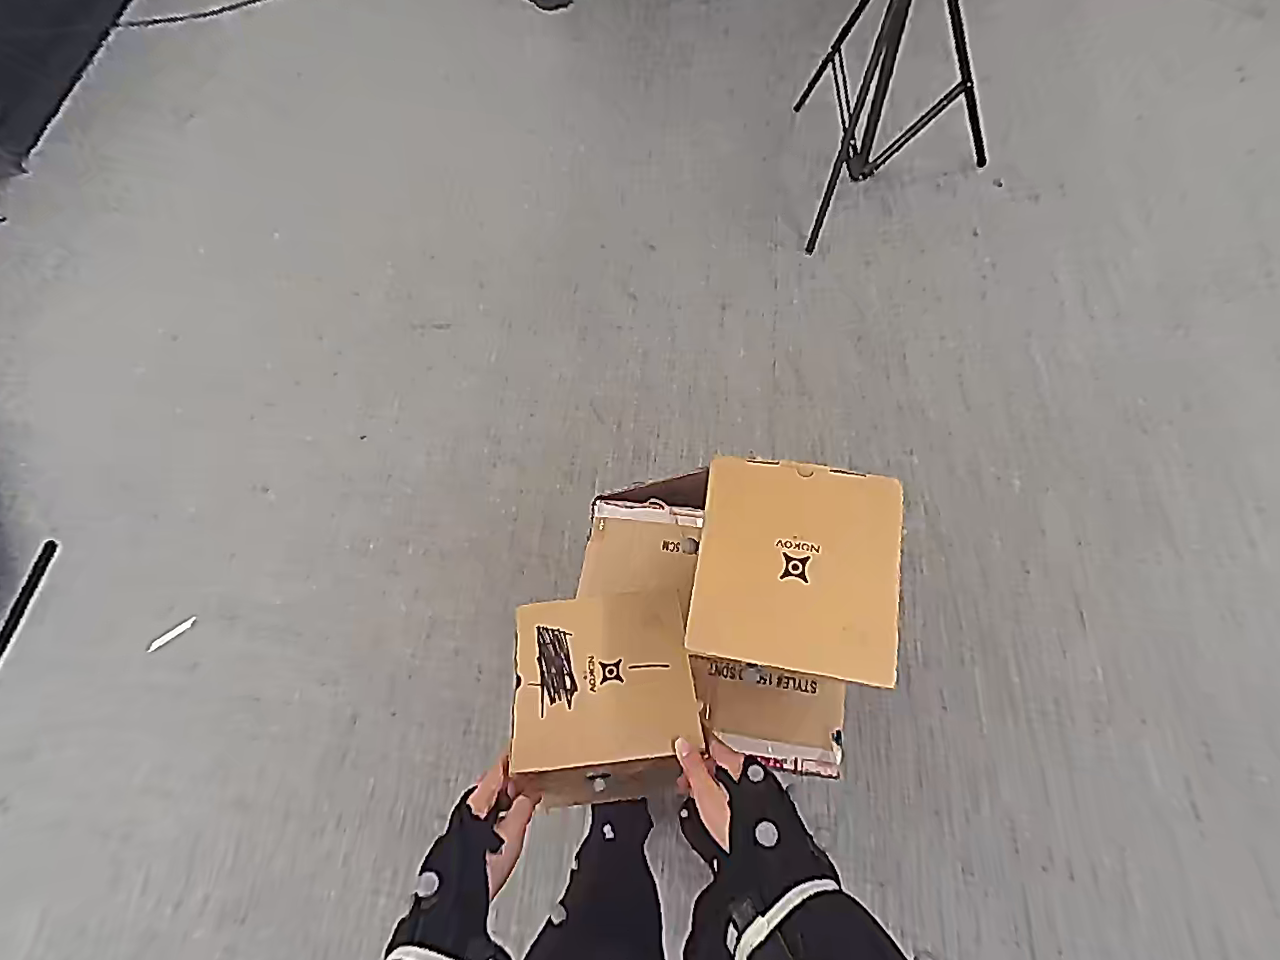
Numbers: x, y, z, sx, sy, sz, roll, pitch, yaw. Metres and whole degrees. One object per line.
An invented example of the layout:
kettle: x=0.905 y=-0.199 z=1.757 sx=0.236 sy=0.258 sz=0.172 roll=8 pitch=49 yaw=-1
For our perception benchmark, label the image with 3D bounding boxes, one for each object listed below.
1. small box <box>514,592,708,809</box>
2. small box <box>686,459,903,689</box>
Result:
small box: x=-0.029 y=0.242 z=0.586 sx=0.179 sy=0.176 sz=0.168 roll=-6 pitch=50 yaw=-3
small box: x=0.143 y=0.098 z=0.529 sx=0.168 sy=0.176 sz=0.179 roll=7 pitch=70 yaw=10
